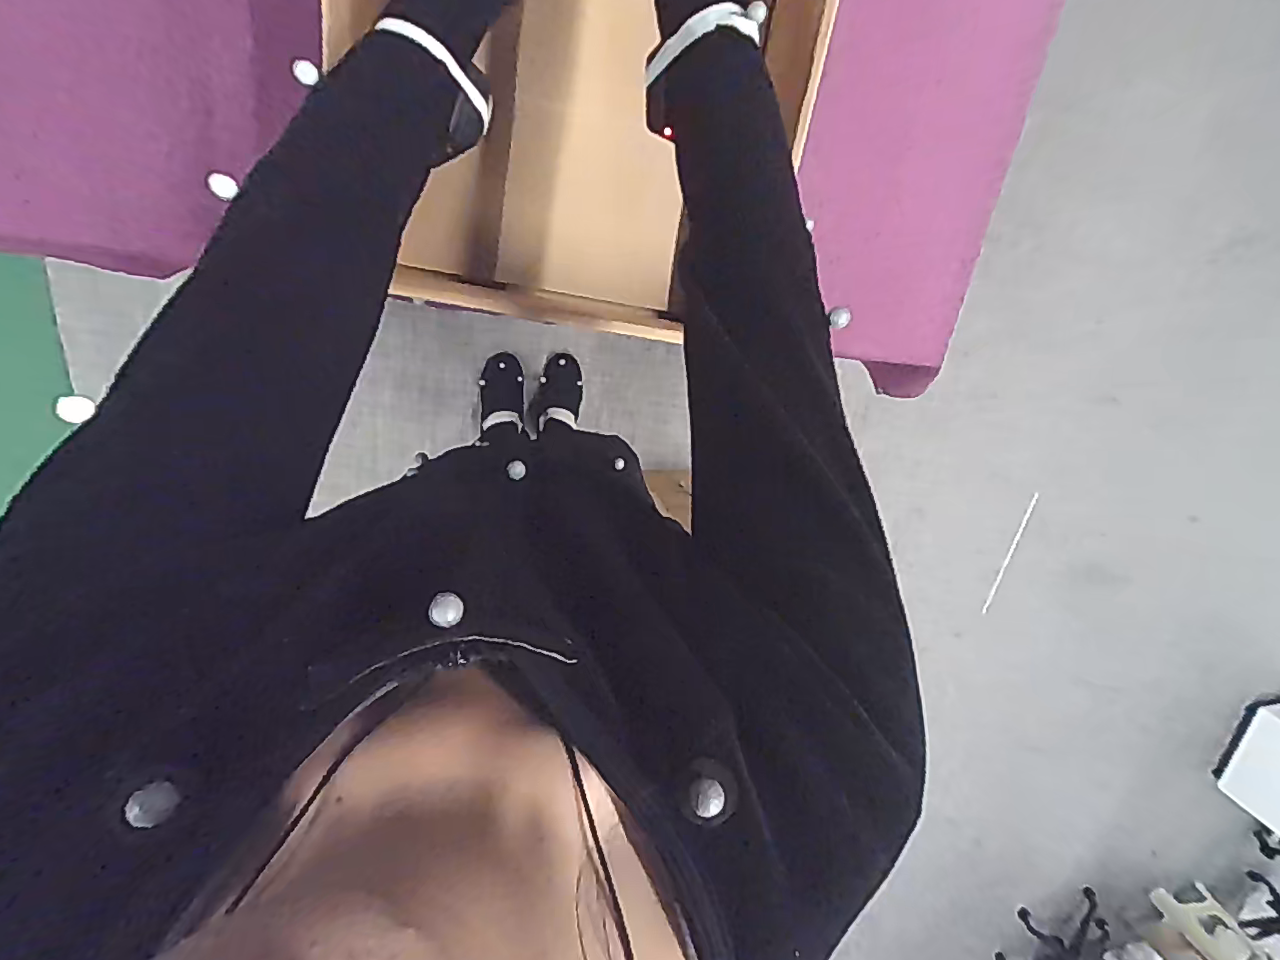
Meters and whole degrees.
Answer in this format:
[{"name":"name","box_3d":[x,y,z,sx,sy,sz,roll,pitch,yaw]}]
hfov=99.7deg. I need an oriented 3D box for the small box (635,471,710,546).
[{"name":"small box","box_3d":[0.086,0.077,1.541,0.179,0.176,0.168,0,111,-11]}]
